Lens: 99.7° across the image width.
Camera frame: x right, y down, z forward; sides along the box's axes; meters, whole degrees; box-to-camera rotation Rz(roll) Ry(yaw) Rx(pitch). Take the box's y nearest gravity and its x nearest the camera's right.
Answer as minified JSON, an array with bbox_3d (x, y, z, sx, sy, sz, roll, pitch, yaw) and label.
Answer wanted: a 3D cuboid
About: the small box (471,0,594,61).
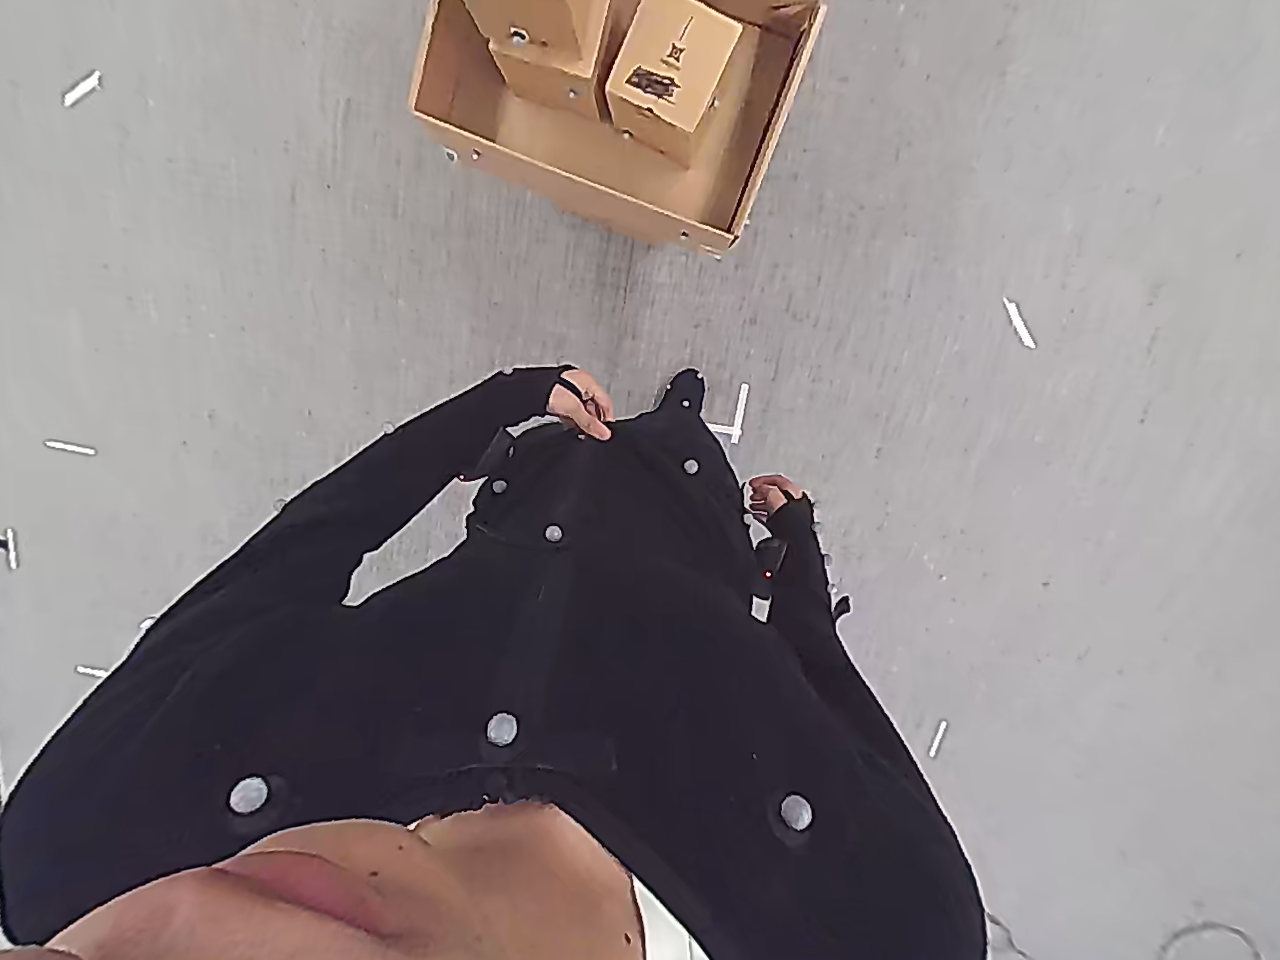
[{"bbox_3d":[-0.155,-0.754,0.772,0.168,0.176,0.179,12,103,0],"label":"small box"}]
